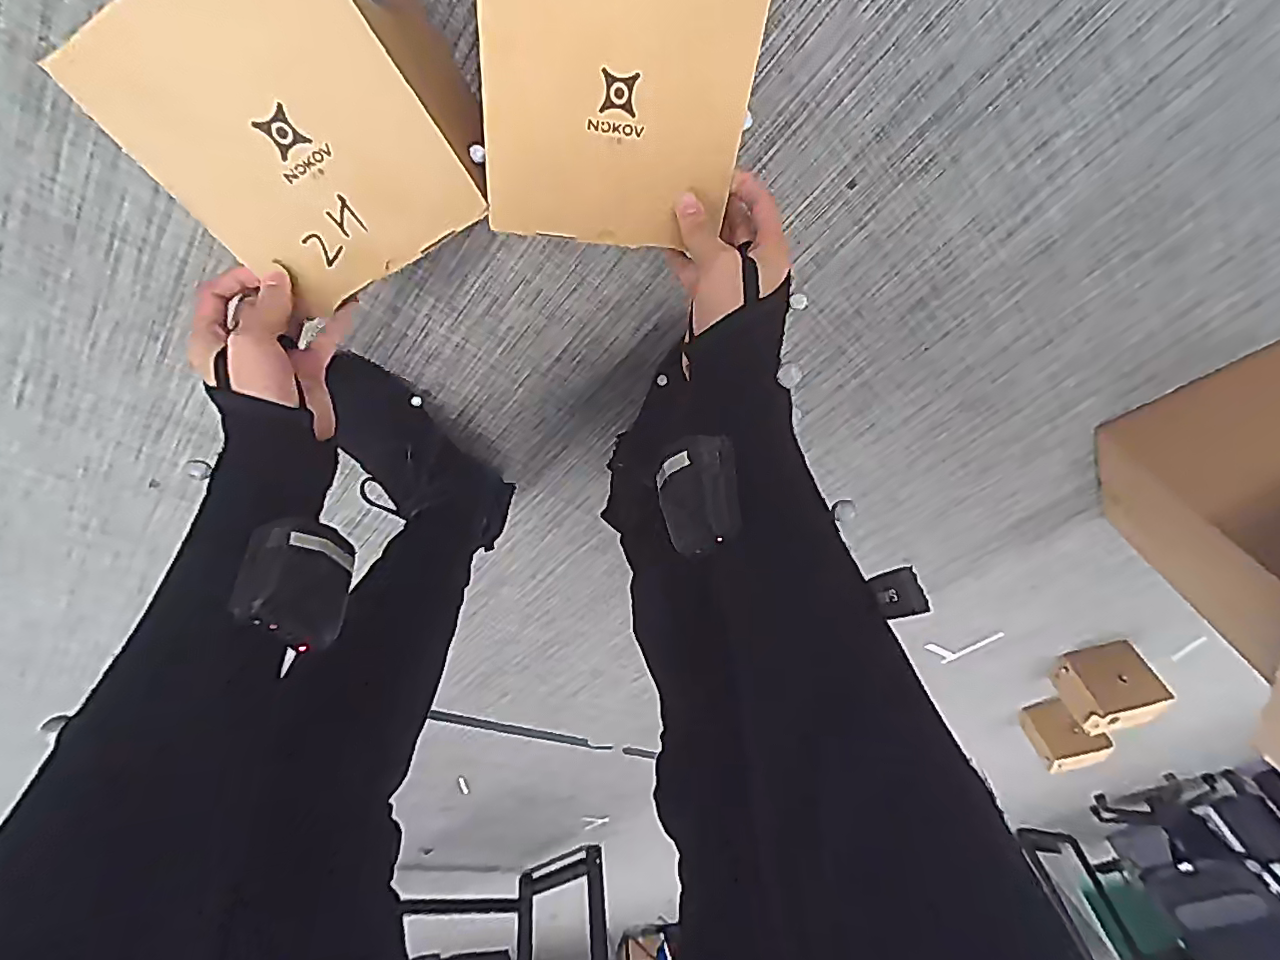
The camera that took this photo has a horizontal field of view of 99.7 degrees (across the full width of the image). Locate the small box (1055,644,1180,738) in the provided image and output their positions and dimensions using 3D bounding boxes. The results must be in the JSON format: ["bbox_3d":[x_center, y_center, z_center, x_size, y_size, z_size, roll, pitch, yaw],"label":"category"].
[{"bbox_3d":[1.297,0.579,1.486,0.179,0.176,0.168,-17,134,6],"label":"small box"}]

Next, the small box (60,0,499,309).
[{"bbox_3d":[-0.221,-0.266,0.391,0.168,0.176,0.179,-24,134,13],"label":"small box"}]

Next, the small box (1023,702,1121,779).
[{"bbox_3d":[1.398,0.844,1.762,0.179,0.176,0.168,-23,133,11],"label":"small box"}]
